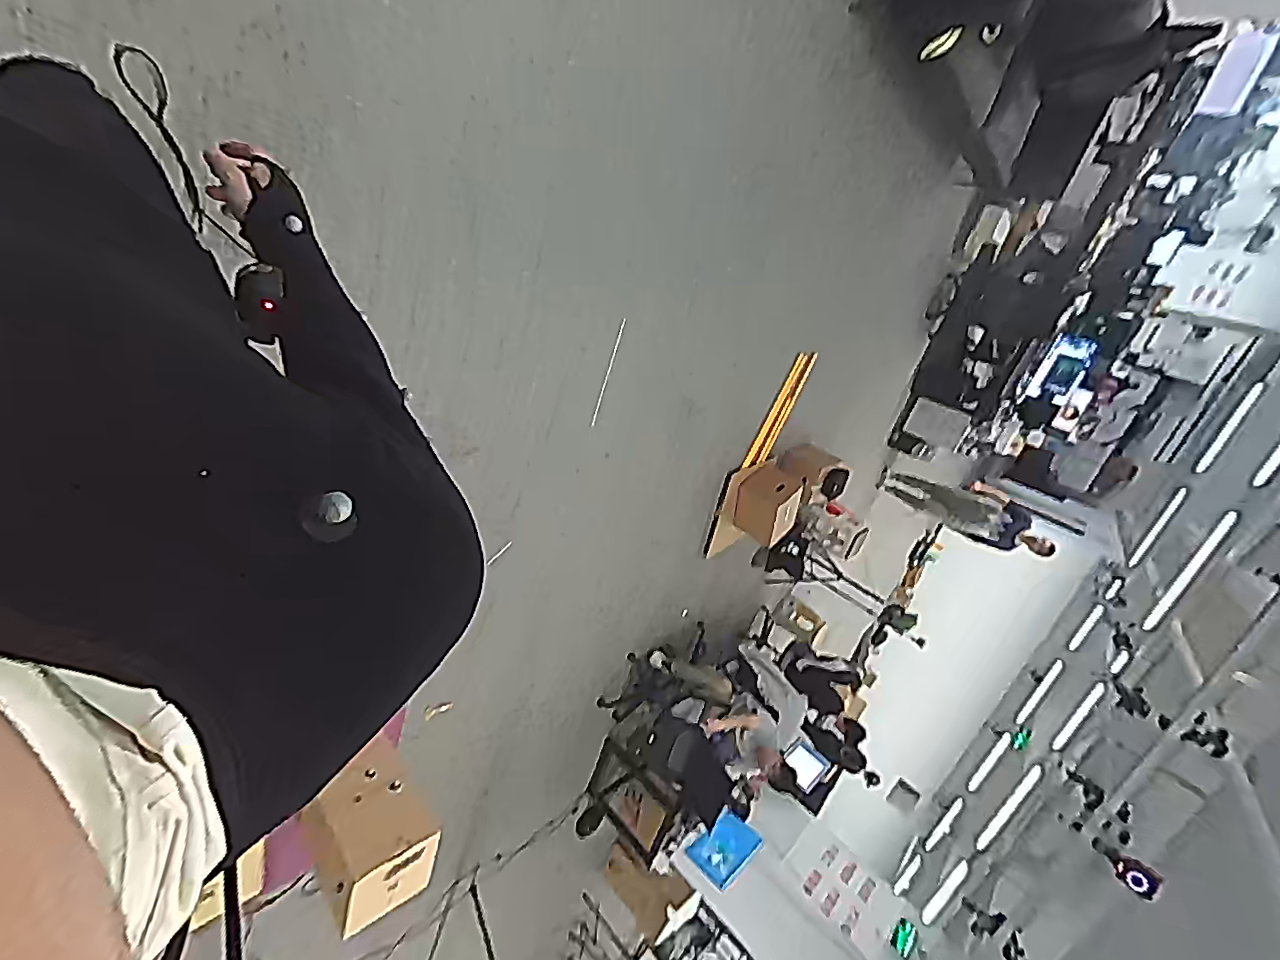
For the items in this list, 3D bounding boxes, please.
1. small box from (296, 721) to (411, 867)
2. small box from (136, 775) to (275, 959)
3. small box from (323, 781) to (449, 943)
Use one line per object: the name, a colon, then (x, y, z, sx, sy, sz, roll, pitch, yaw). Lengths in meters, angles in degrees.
small box: (-0.624, 0.667, 1.170, 0.168, 0.176, 0.179, -7, 122, -49)
small box: (-0.788, 0.686, 0.979, 0.168, 0.176, 0.179, -7, 121, -49)
small box: (-0.509, 0.739, 1.075, 0.168, 0.176, 0.179, -6, 121, -49)
